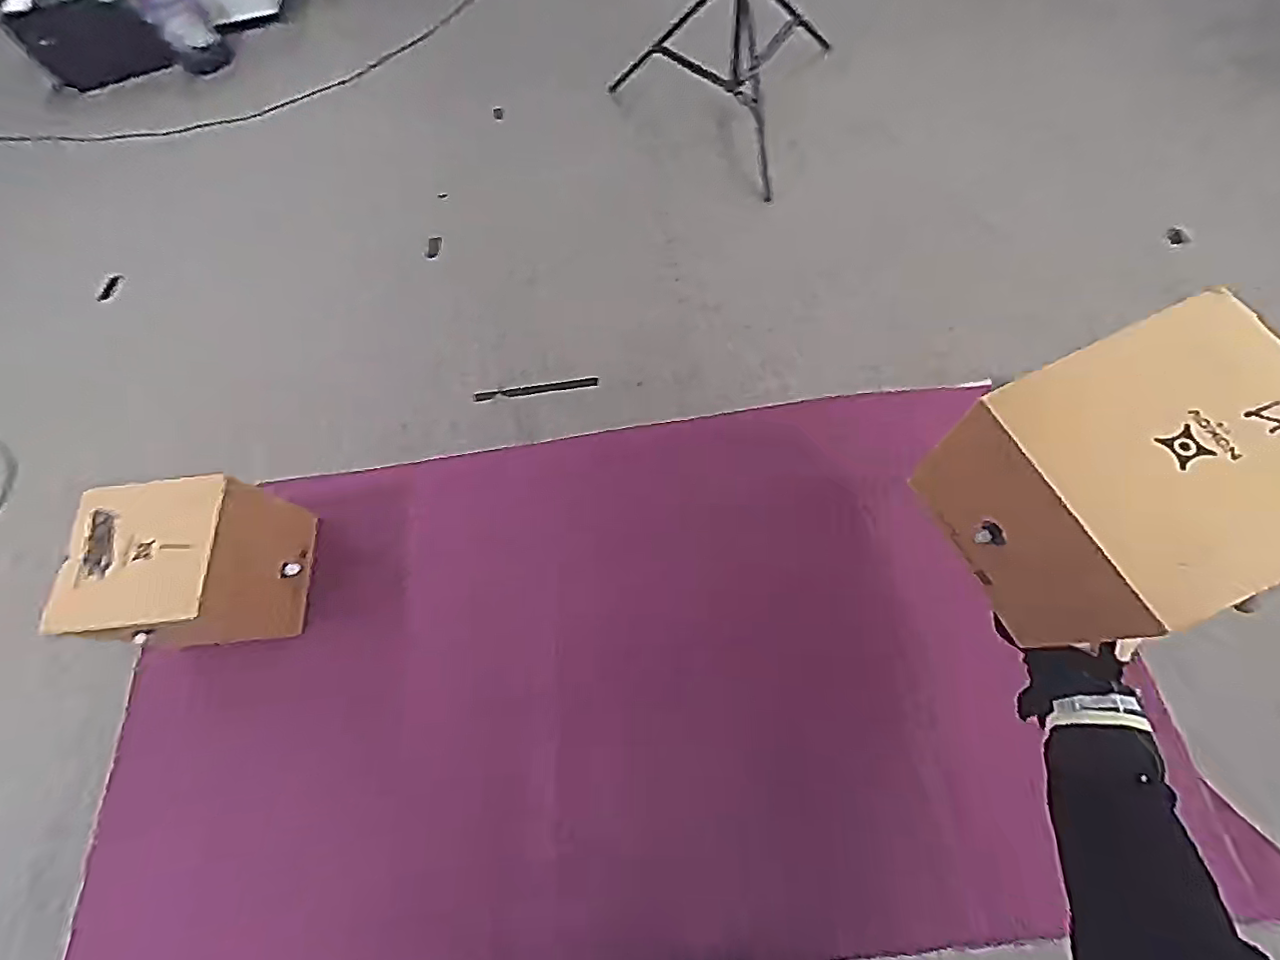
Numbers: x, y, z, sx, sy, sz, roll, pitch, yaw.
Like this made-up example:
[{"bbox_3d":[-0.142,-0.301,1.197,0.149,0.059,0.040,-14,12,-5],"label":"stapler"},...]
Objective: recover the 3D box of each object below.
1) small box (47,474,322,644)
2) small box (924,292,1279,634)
[{"bbox_3d":[-0.537,0.105,0.667,0.179,0.176,0.168,-6,68,2],"label":"small box"},{"bbox_3d":[0.345,0.004,0.405,0.179,0.176,0.168,-25,69,0],"label":"small box"}]
